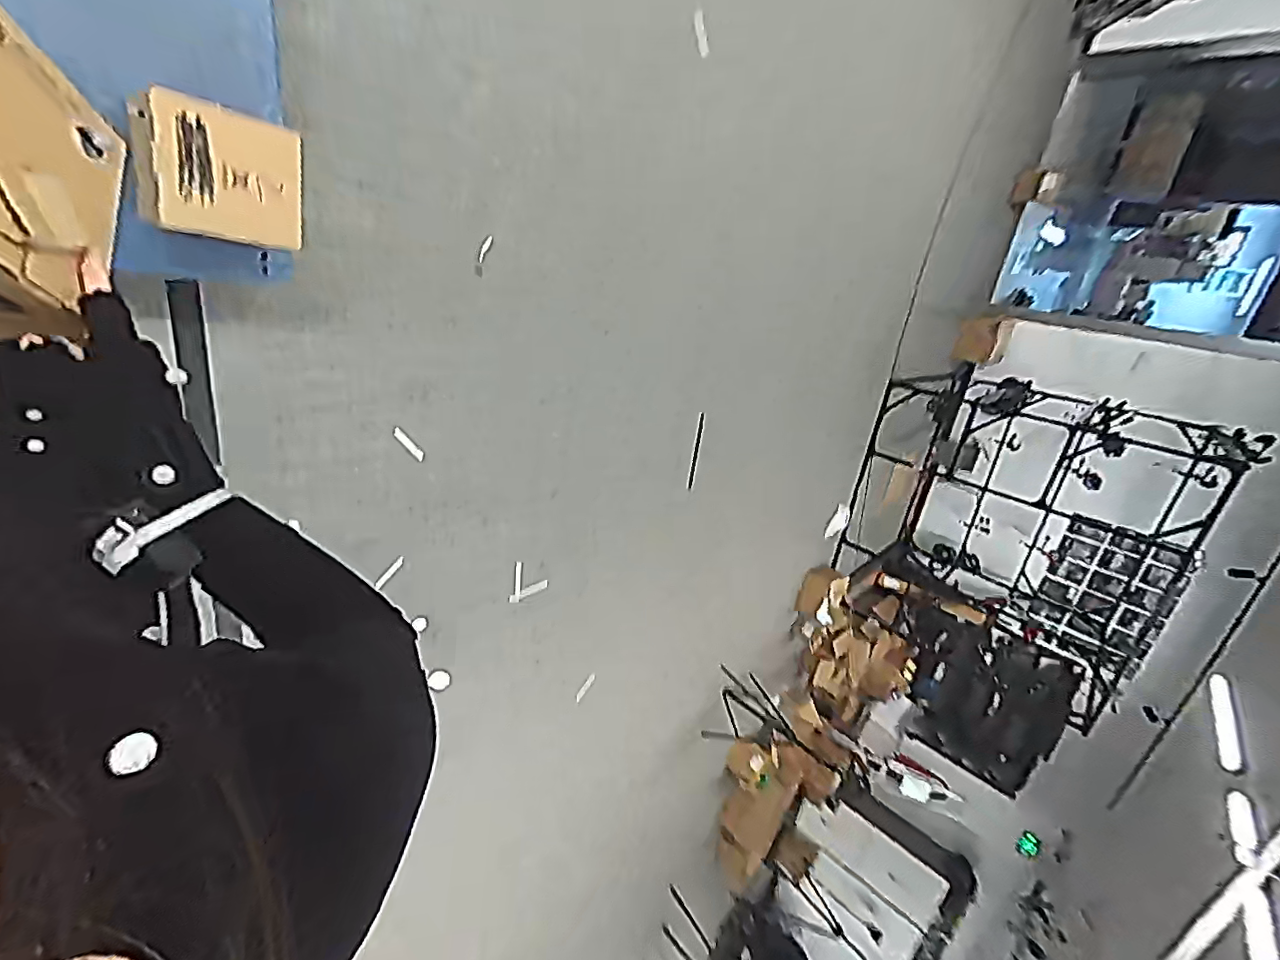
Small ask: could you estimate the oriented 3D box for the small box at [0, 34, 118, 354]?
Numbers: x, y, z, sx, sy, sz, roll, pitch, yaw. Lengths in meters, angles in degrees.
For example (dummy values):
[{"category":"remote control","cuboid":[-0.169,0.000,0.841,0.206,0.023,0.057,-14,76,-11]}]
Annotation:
[{"category":"small box","cuboid":[-0.467,-0.189,0.322,0.168,0.179,0.176,117,-33,-73]}]
